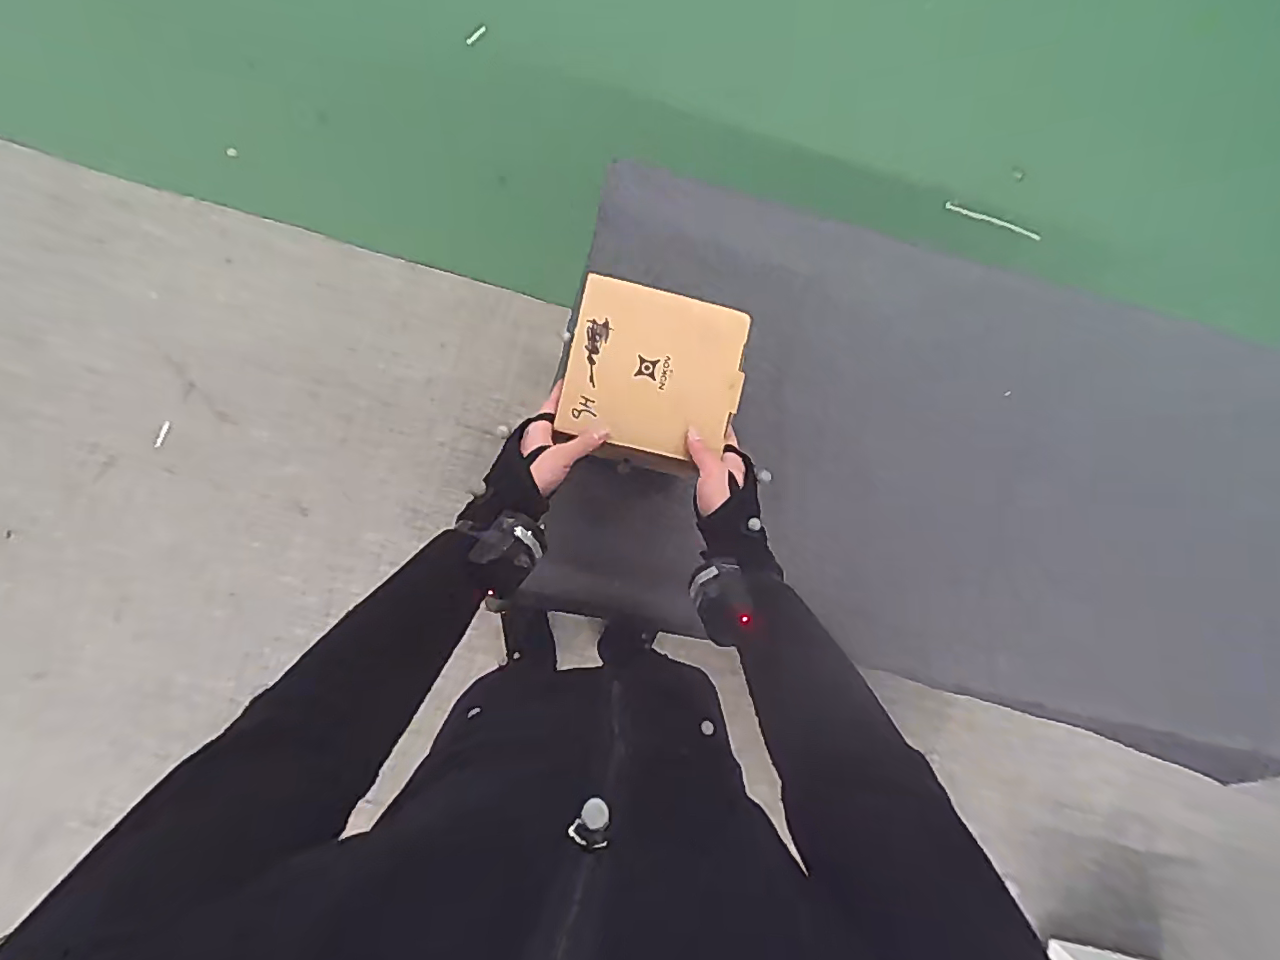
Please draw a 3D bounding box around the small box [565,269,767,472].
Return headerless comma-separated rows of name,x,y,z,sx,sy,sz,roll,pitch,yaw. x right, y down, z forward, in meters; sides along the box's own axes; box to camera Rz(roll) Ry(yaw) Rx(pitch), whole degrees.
small box,0.019,-0.108,0.621,0.179,0.176,0.168,14,85,-8
